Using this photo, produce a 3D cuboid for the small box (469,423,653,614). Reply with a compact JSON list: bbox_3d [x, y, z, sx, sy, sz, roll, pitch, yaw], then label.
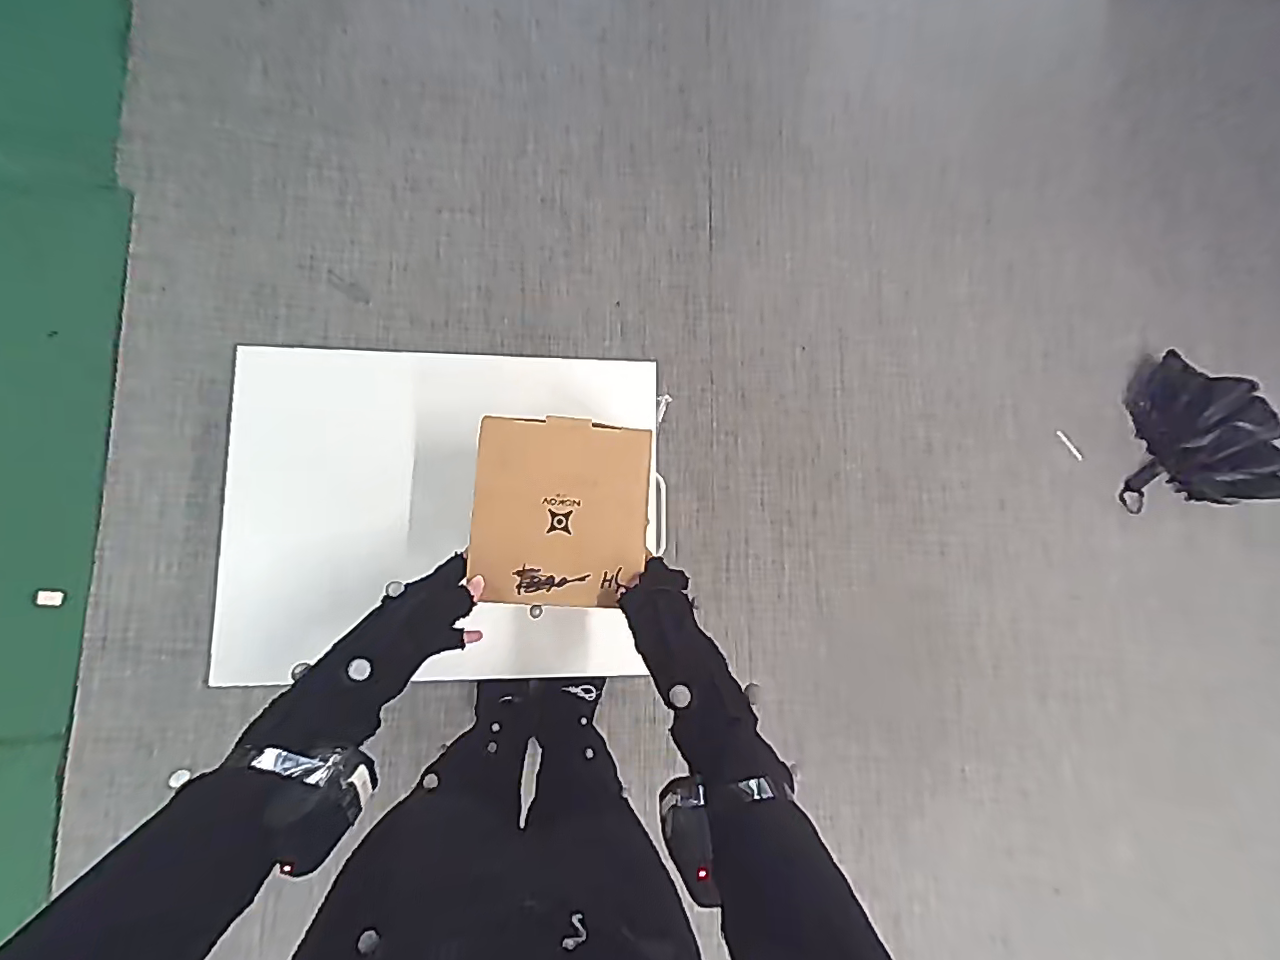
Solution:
[{"bbox_3d":[-0.081,0.046,0.592,0.168,0.176,0.179,3,83,-5],"label":"small box"}]
